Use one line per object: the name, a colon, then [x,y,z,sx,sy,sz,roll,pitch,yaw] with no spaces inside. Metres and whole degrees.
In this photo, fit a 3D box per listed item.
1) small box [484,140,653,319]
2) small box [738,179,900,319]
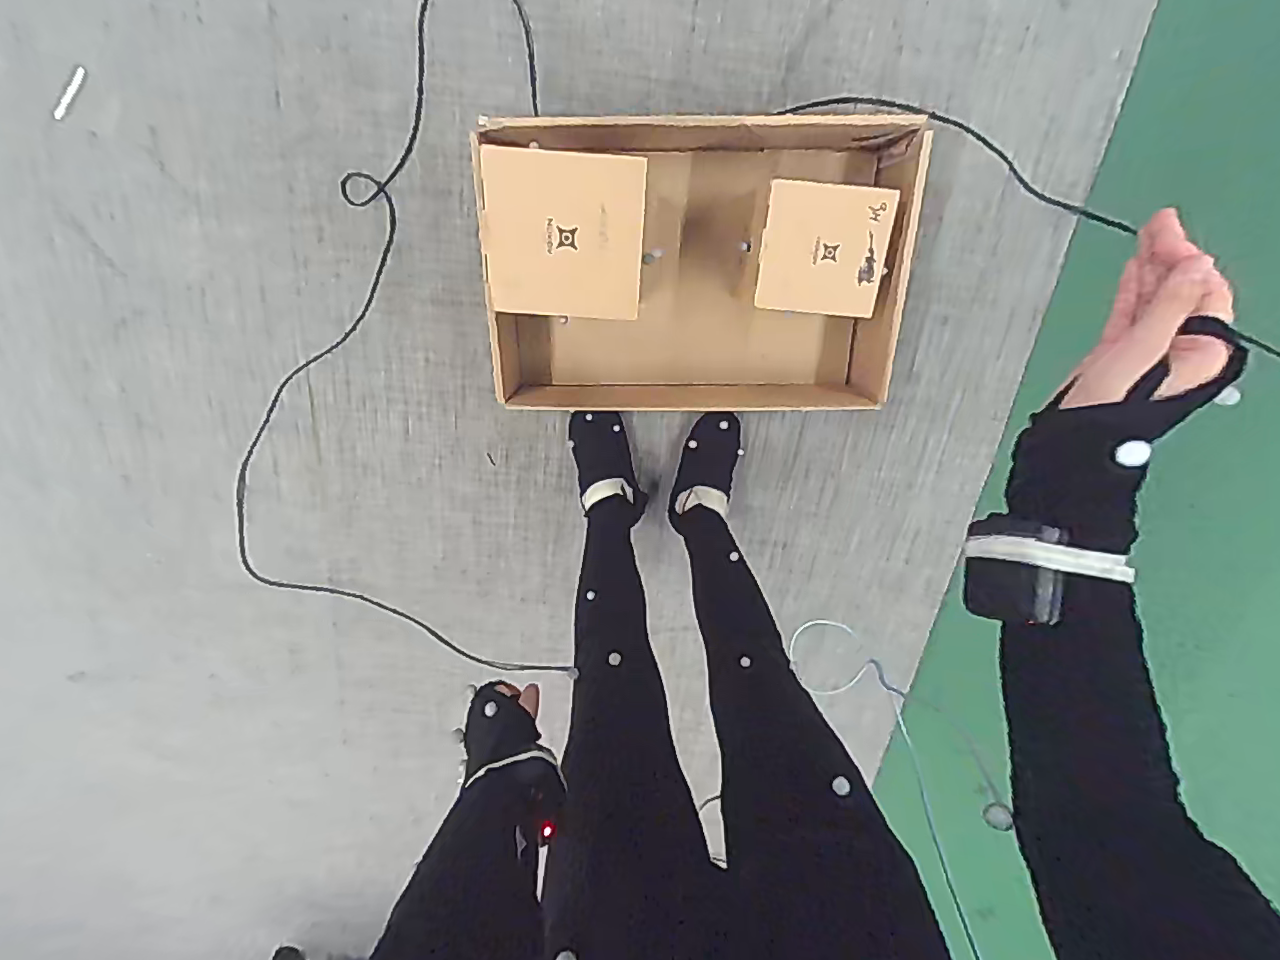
small box: [-0.081,-0.296,0.660,0.179,0.176,0.168,4,113,-3]
small box: [0.253,-0.342,0.817,0.179,0.176,0.168,6,112,-1]
